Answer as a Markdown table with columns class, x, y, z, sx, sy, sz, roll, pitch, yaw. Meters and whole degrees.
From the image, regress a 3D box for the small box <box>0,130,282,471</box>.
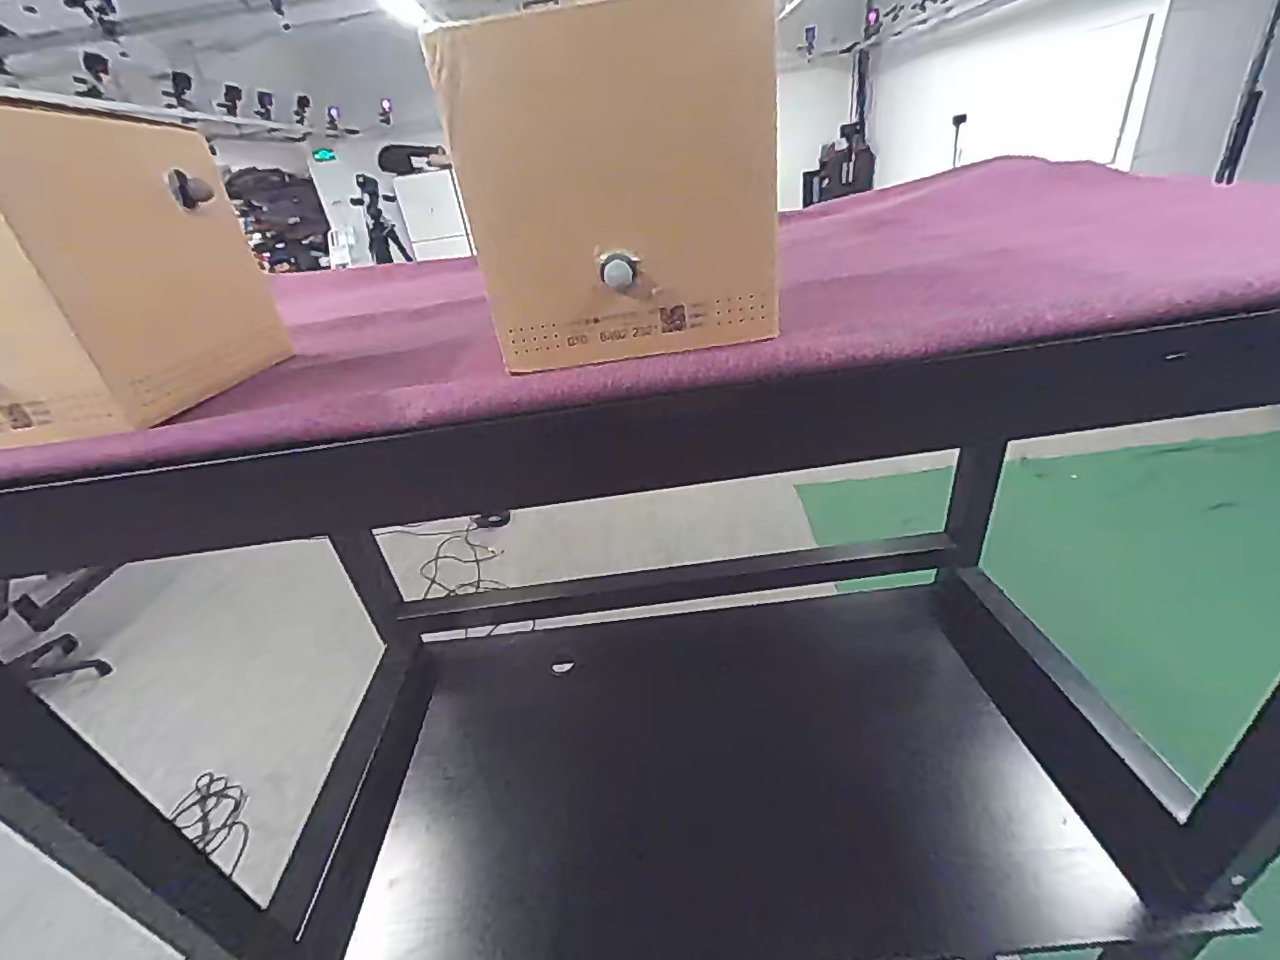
| class | x | y | z | sx | sy | sz | roll | pitch | yaw |
| --- | --- | --- | --- | --- | --- | --- | --- | --- | --- |
| small box | -0.382 | -0.118 | 0.359 | 0.168 | 0.176 | 0.179 | -7 | 29 | 3 |

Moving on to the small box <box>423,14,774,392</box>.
| class | x | y | z | sx | sy | sz | roll | pitch | yaw |
| --- | --- | --- | --- | --- | --- | --- | --- | --- | --- |
| small box | -0.012 | -0.172 | 0.358 | 0.168 | 0.176 | 0.179 | -7 | 32 | 3 |
